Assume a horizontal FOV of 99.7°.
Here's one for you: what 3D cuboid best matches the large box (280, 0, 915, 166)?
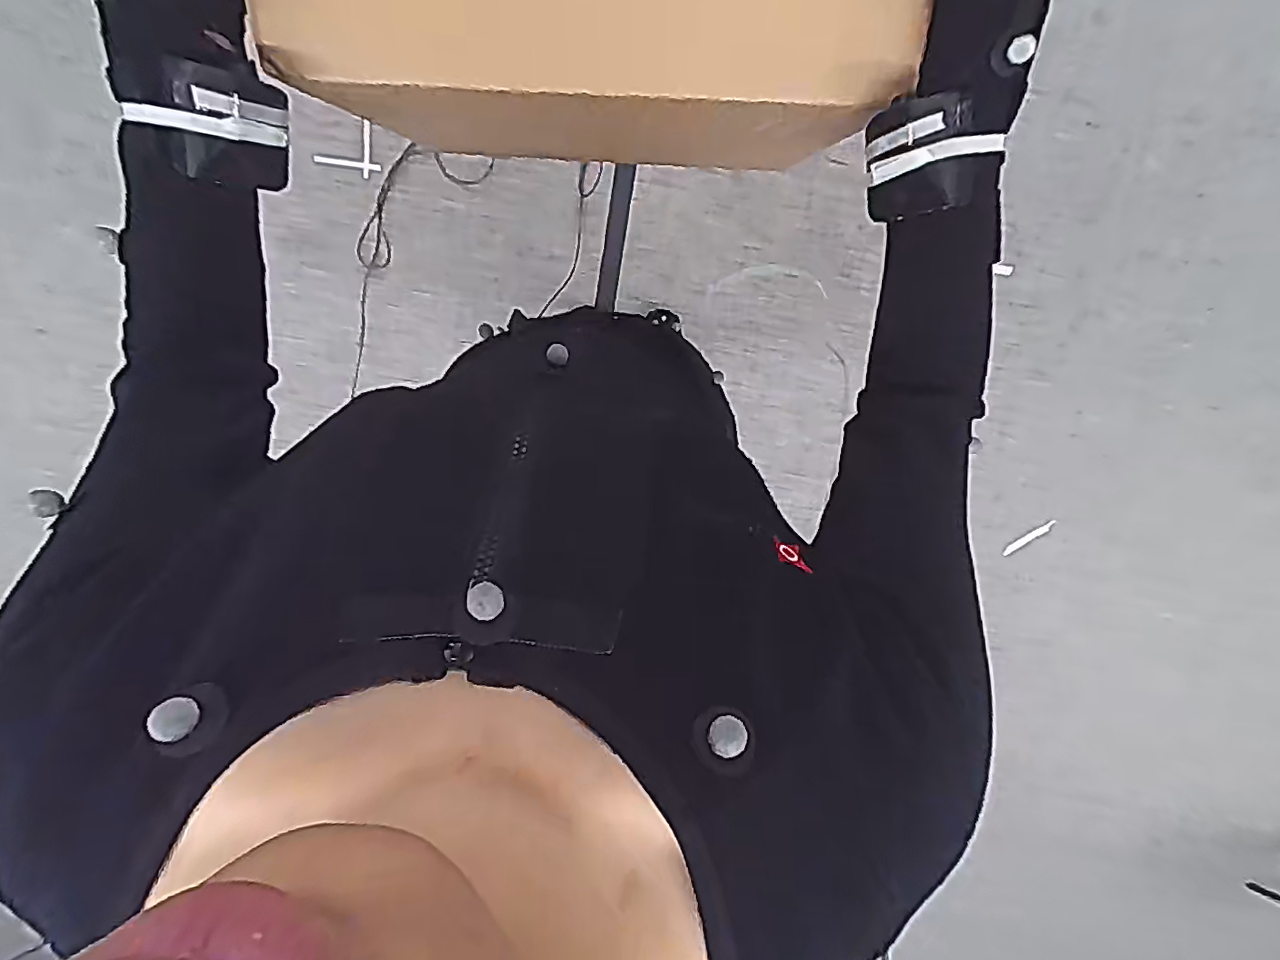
[{"bbox_3d":[-0.027,-0.452,0.434,0.408,0.320,0.320,1,113,-2],"label":"large box"}]
